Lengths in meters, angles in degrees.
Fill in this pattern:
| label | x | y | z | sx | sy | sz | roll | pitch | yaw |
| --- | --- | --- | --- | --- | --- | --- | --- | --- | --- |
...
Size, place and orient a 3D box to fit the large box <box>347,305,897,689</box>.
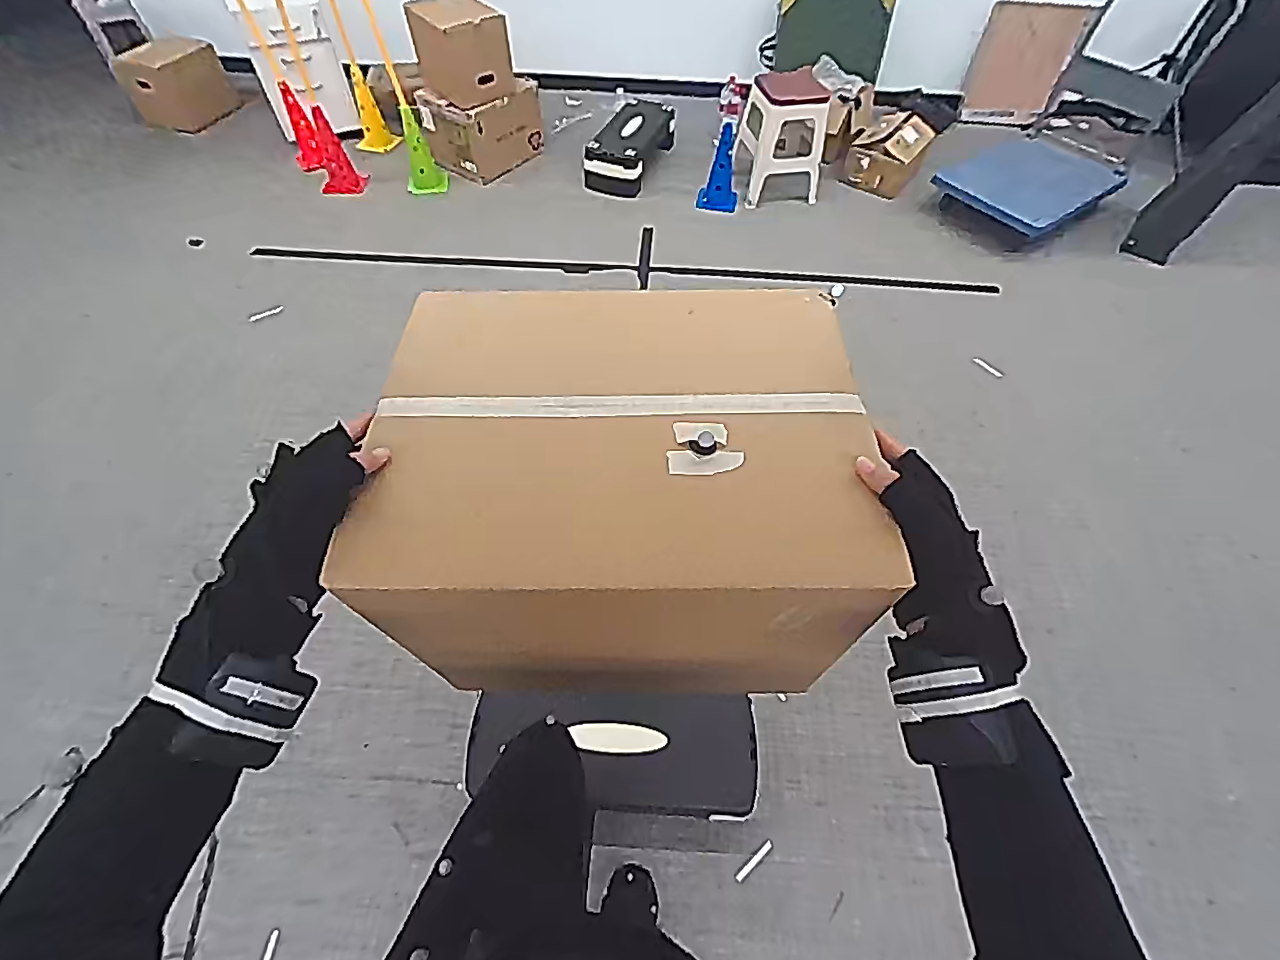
| label | x | y | z | sx | sy | sz | roll | pitch | yaw |
| --- | --- | --- | --- | --- | --- | --- | --- | --- | --- |
| large box | -0.015 | 0.031 | 0.589 | 0.408 | 0.320 | 0.320 | 0 | 57 | 0 |
